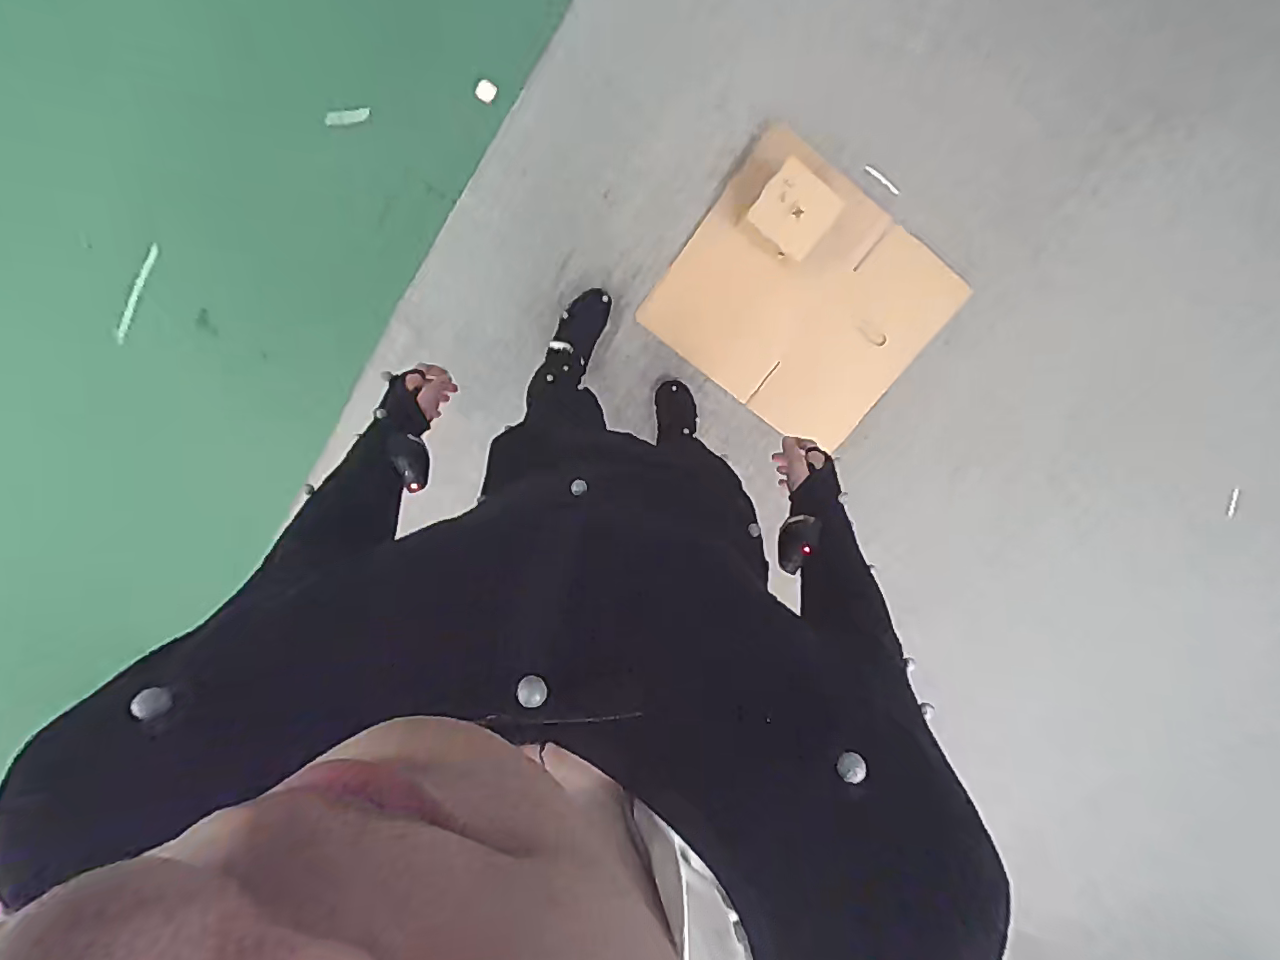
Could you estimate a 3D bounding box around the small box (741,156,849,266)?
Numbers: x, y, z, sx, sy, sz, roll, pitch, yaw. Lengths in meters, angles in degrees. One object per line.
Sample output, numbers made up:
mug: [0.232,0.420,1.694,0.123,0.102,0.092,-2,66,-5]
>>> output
small box: [0.373,-0.650,1.335,0.179,0.176,0.168,38,104,-8]
